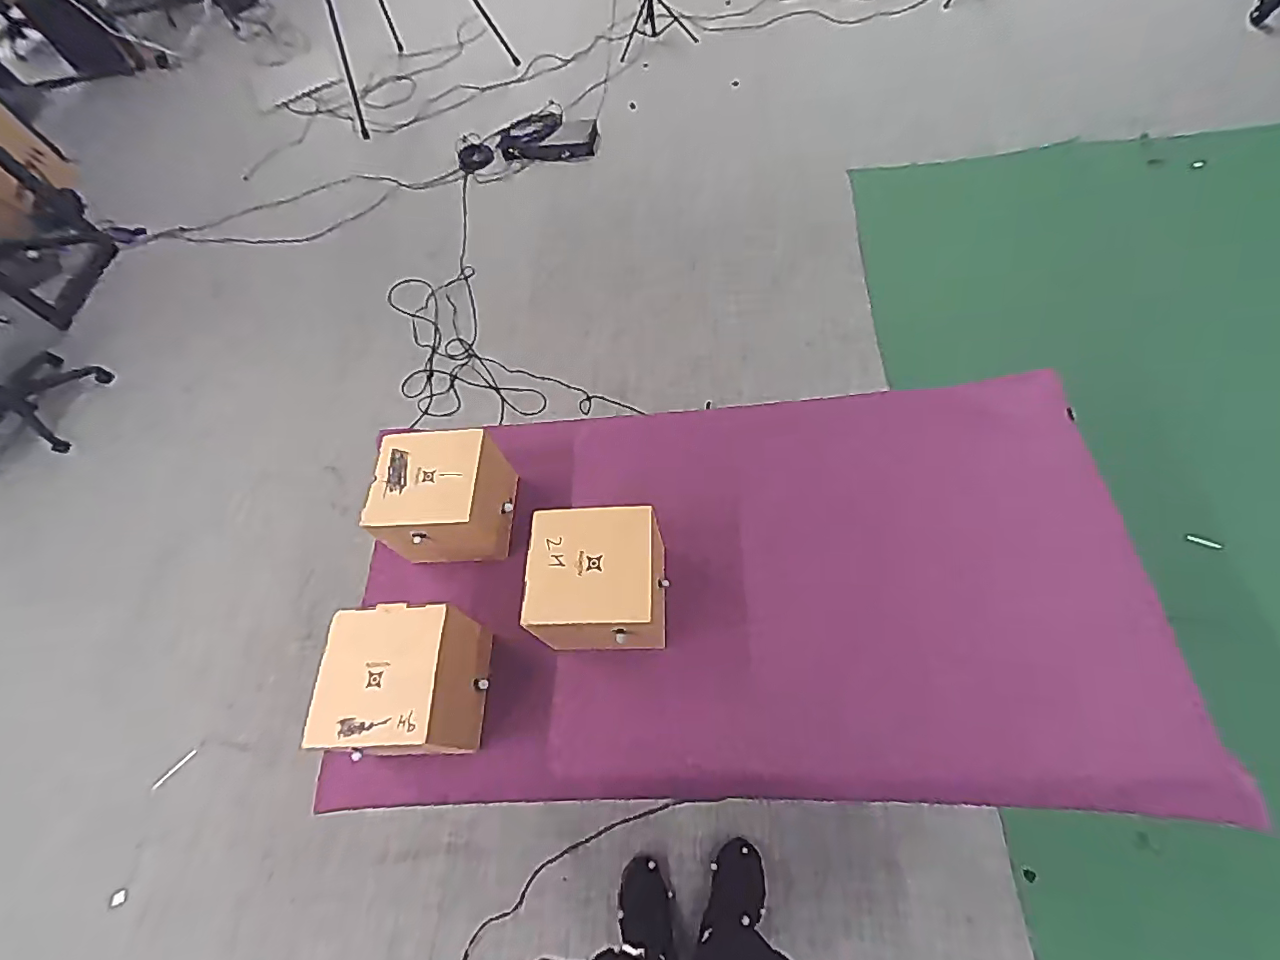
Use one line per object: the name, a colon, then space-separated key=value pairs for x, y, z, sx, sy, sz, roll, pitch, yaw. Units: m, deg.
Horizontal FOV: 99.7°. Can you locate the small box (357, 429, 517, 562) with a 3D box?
small box: x=-0.324 y=0.032 z=0.899 sx=0.179 sy=0.176 sz=0.168 roll=-2 pitch=62 yaw=6

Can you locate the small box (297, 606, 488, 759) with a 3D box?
small box: x=-0.328 y=0.289 z=0.761 sx=0.168 sy=0.176 sz=0.179 roll=-5 pitch=60 yaw=8

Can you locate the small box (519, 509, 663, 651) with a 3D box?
small box: x=-0.059 y=0.151 z=0.794 sx=0.179 sy=0.176 sz=0.168 roll=-3 pitch=62 yaw=7
